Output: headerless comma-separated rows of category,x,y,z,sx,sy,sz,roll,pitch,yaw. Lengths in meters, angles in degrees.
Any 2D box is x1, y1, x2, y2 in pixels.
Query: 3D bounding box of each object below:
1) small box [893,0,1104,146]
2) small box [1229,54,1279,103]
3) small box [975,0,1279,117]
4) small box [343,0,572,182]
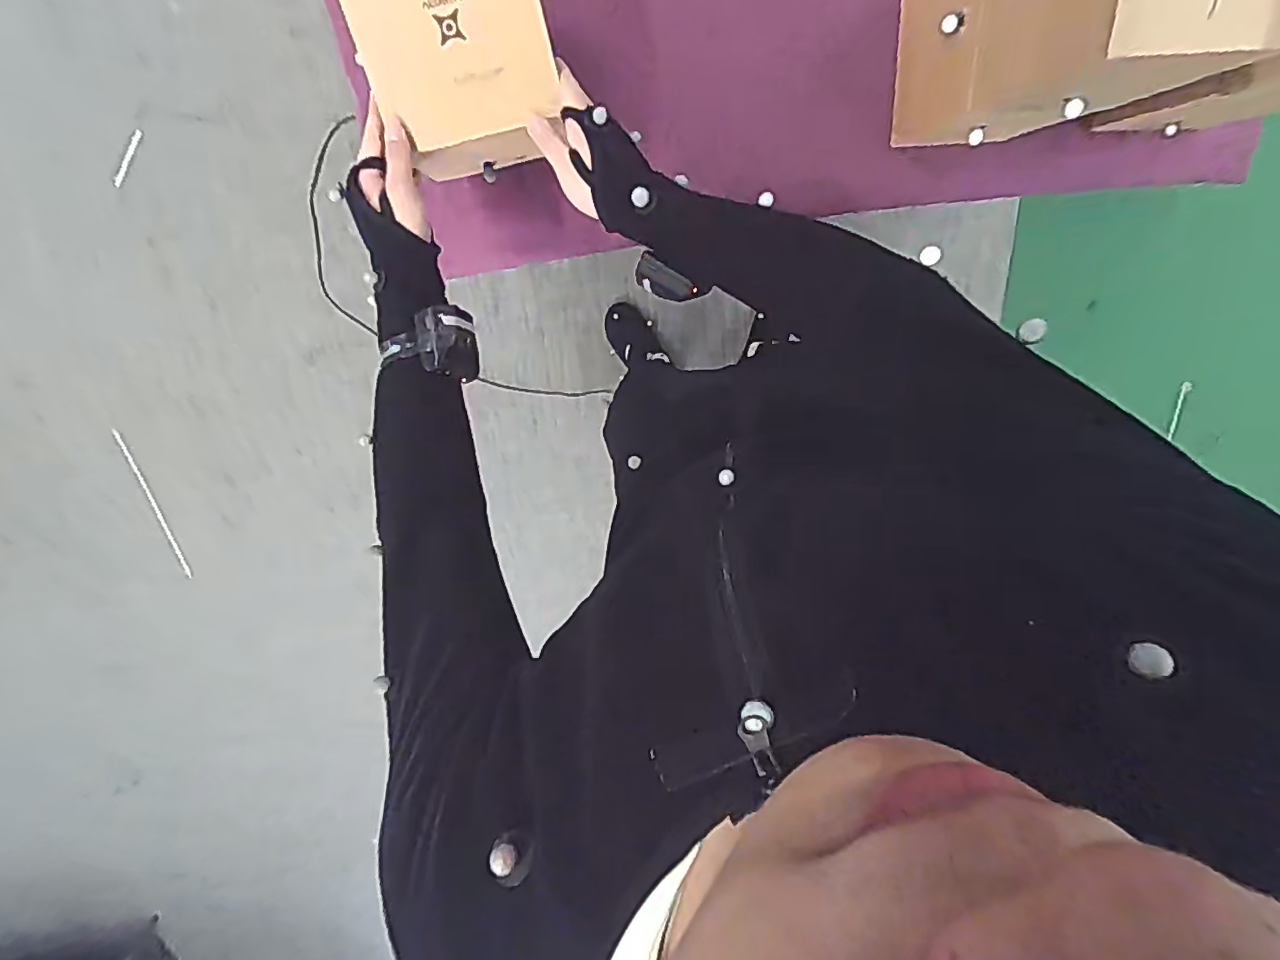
small box,0.418,-0.504,0.629,0.168,0.176,0.179,-6,110,-3
small box,0.713,-0.470,0.489,0.168,0.176,0.179,-3,111,-3
small box,0.432,-0.448,0.476,0.168,0.176,0.179,-5,111,-3
small box,-0.169,-0.420,0.537,0.168,0.176,0.179,-14,112,1
